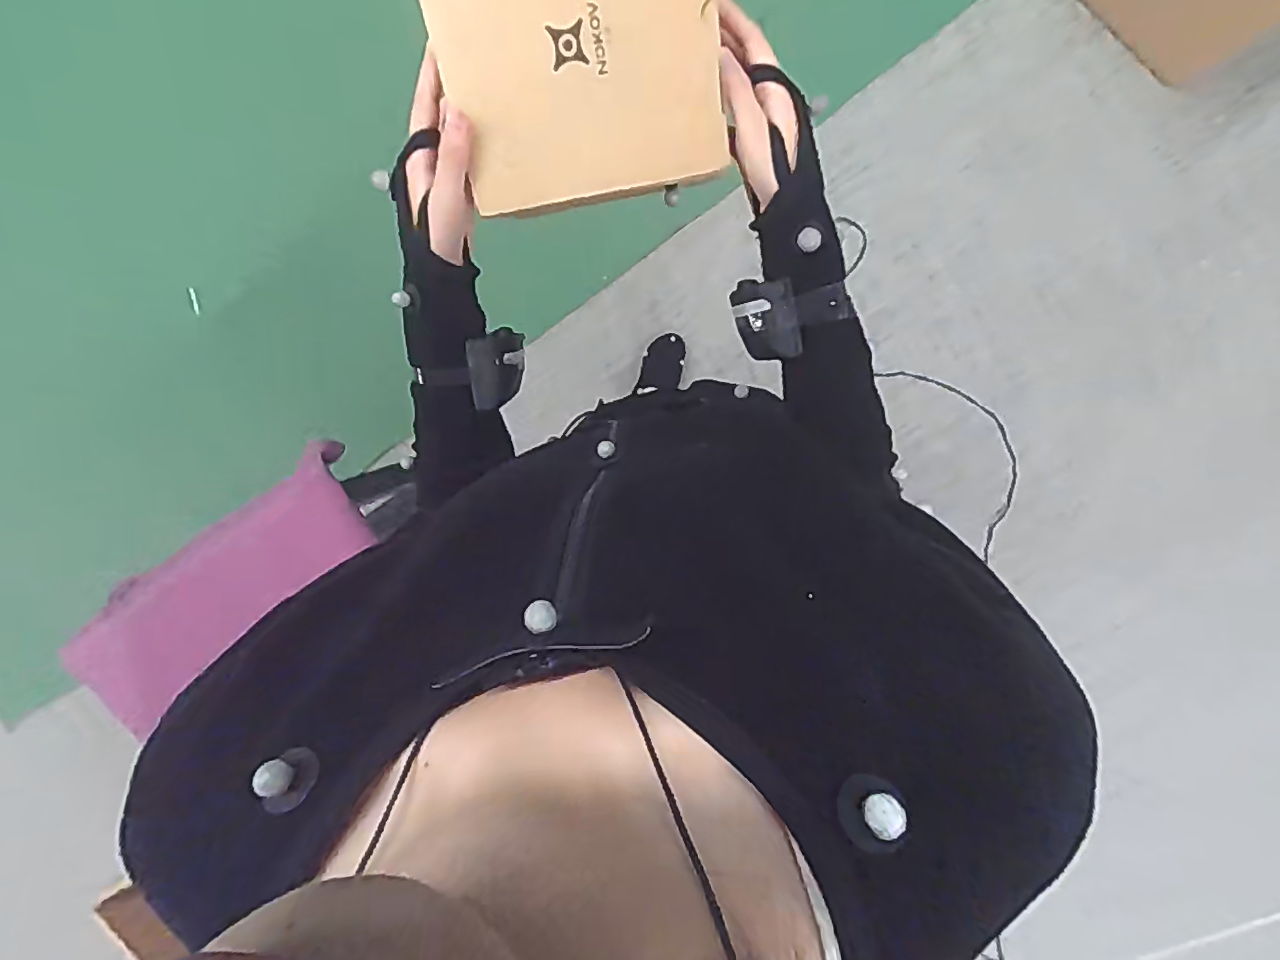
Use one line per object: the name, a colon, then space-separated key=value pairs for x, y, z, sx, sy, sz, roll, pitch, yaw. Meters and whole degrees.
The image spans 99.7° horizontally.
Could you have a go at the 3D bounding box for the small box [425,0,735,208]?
small box: x=-0.035 y=-0.302 z=0.393 sx=0.179 sy=0.176 sz=0.168 roll=-9 pitch=116 yaw=3
